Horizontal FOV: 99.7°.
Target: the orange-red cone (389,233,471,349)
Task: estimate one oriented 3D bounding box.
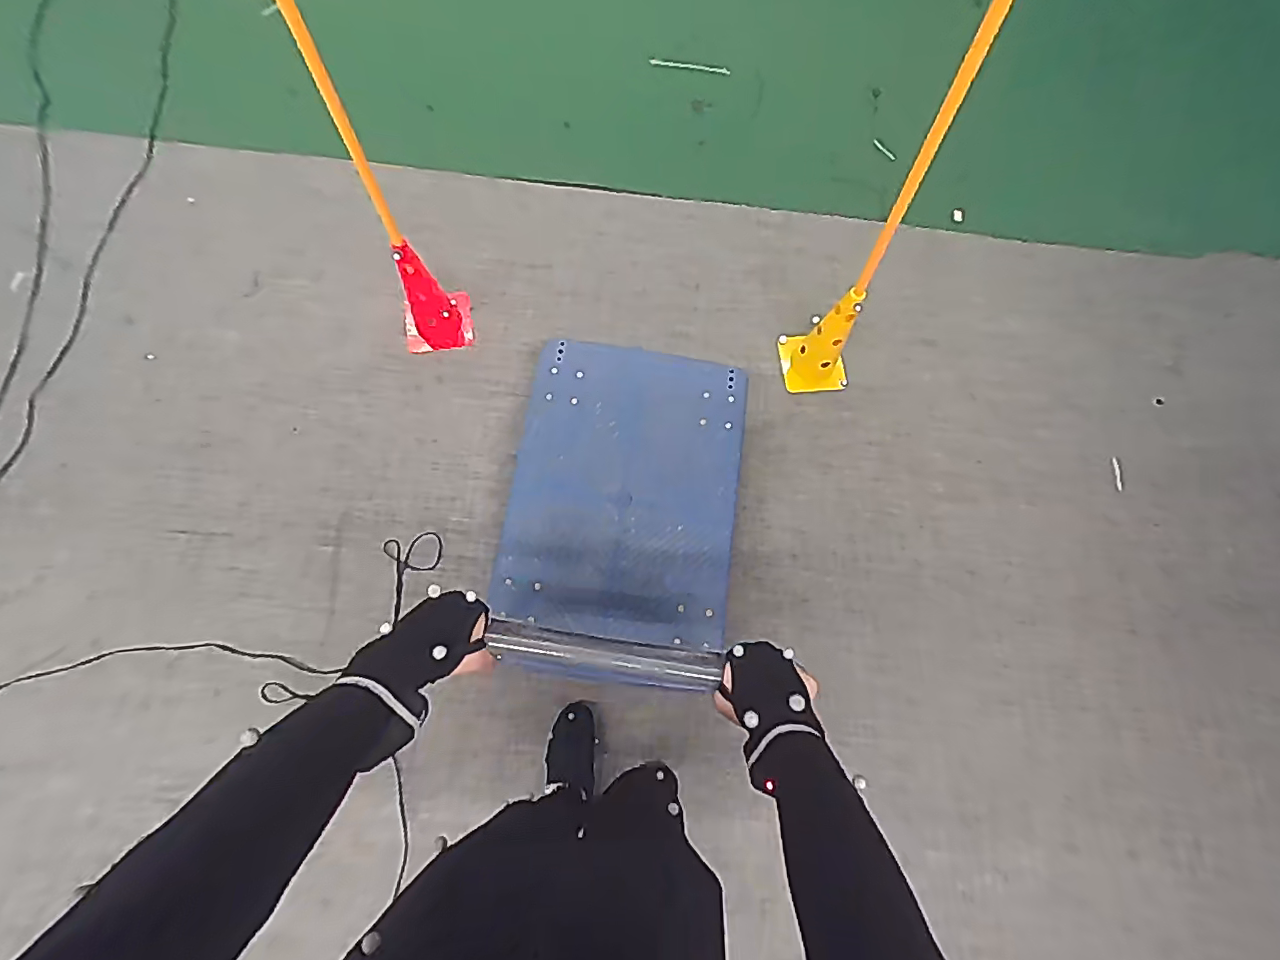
[{"bbox_3d":[-0.621,-0.551,1.522,0.199,0.360,0.198,-8,73,-5],"label":"orange-red cone"}]
